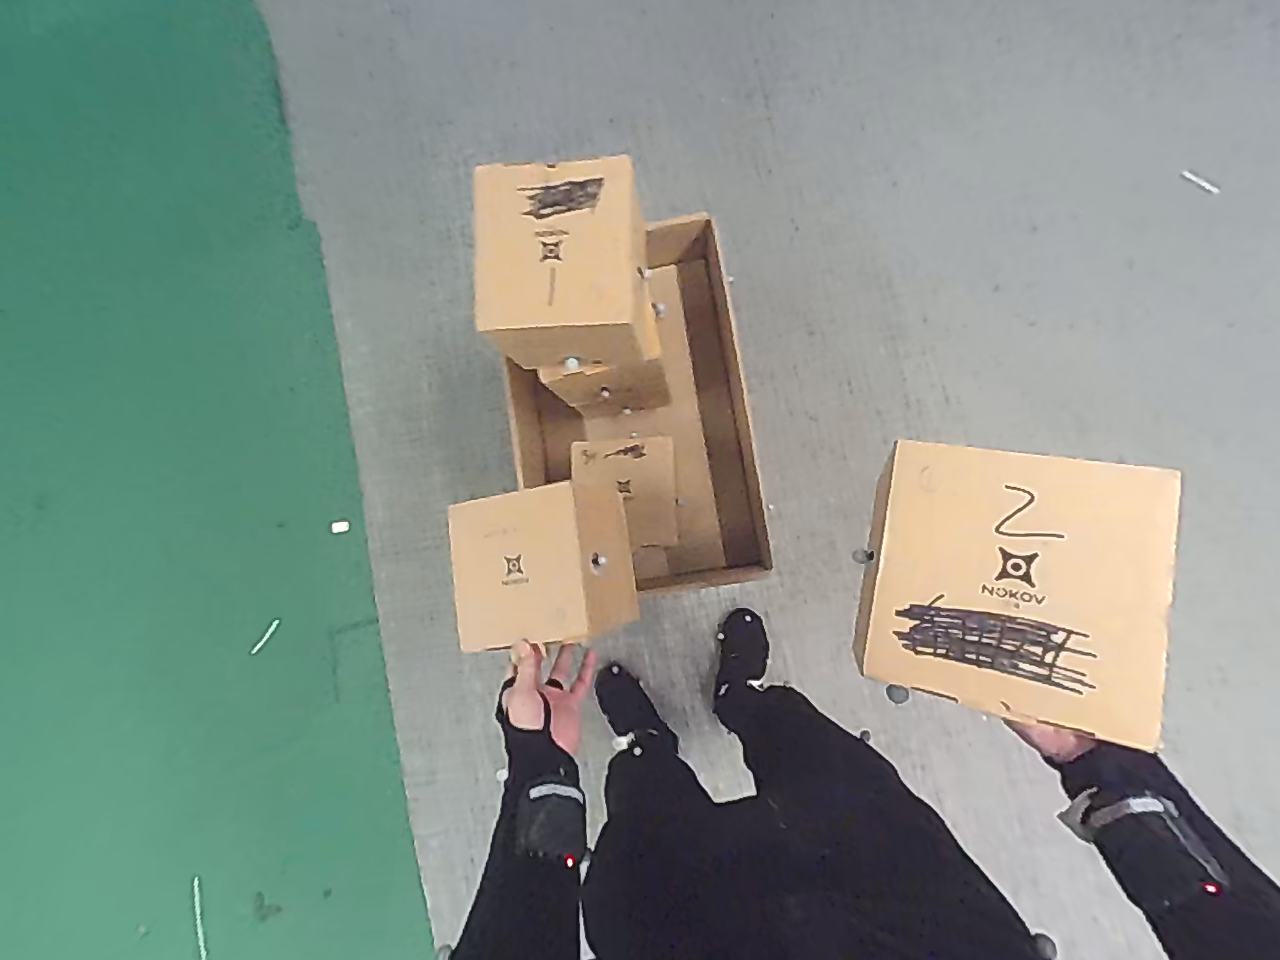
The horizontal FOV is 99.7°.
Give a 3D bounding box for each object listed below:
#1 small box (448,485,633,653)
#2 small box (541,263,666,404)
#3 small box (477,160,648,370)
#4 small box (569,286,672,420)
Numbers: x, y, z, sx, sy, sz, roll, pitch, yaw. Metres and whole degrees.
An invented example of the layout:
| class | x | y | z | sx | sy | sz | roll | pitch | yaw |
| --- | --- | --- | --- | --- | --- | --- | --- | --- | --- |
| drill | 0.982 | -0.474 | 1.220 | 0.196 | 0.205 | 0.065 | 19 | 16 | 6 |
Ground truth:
| class | x | y | z | sx | sy | sz | roll | pitch | yaw |
| --- | --- | --- | --- | --- | --- | --- | --- | --- | --- |
| small box | -0.117 | 0.110 | 0.684 | 0.168 | 0.176 | 0.179 | -11 | 80 | 18 |
| small box | -0.058 | -0.225 | 0.802 | 0.168 | 0.176 | 0.179 | -10 | 86 | 5 |
| small box | -0.081 | -0.239 | 0.639 | 0.168 | 0.176 | 0.179 | -1 | 87 | 6 |
| small box | -0.039 | -0.217 | 0.962 | 0.168 | 0.176 | 0.179 | -10 | 86 | 6 |
